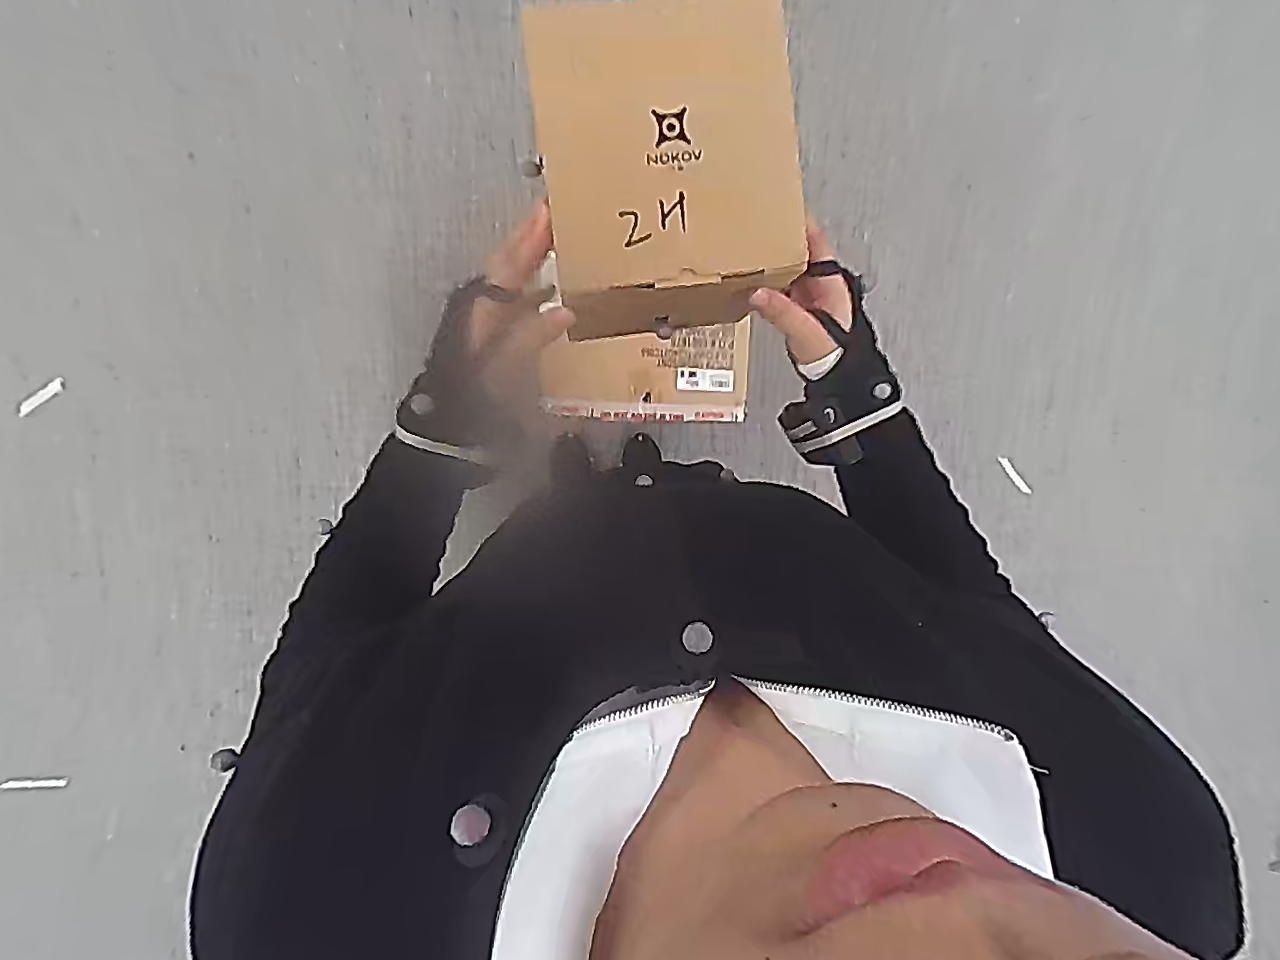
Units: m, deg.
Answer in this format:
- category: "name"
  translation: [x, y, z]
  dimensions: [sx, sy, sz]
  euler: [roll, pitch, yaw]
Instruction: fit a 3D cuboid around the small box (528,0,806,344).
- category: "small box"
  translation: [0.011, -0.218, 0.426]
  dimensions: [0.168, 0.176, 0.179]
  euler: [-8, 94, -5]
